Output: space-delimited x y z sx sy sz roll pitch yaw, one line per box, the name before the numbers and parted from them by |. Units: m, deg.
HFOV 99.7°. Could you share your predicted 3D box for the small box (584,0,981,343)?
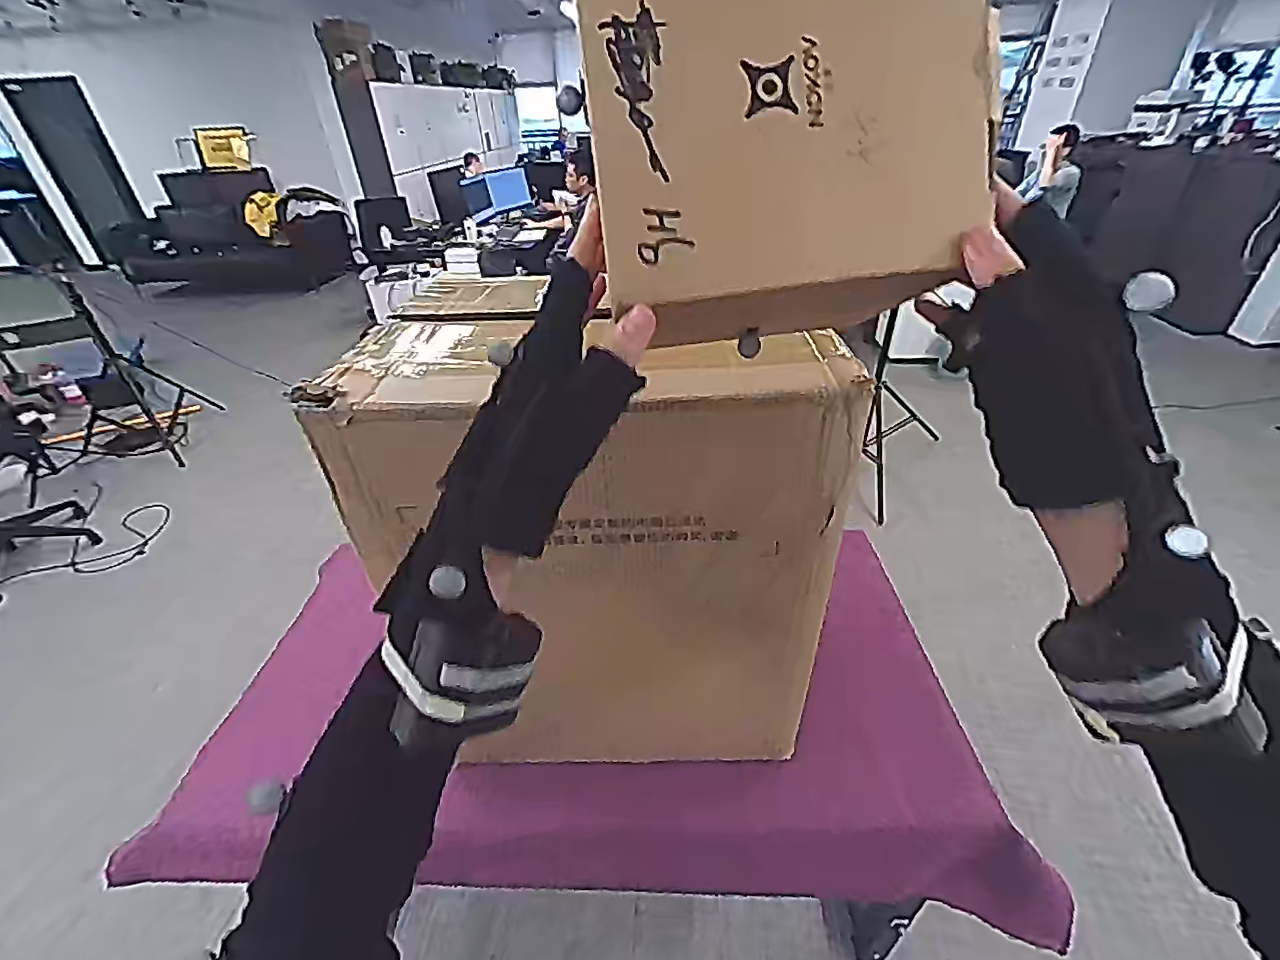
small box | 0.063 -0.184 0.323 0.179 0.168 0.176 -6 4 -1
